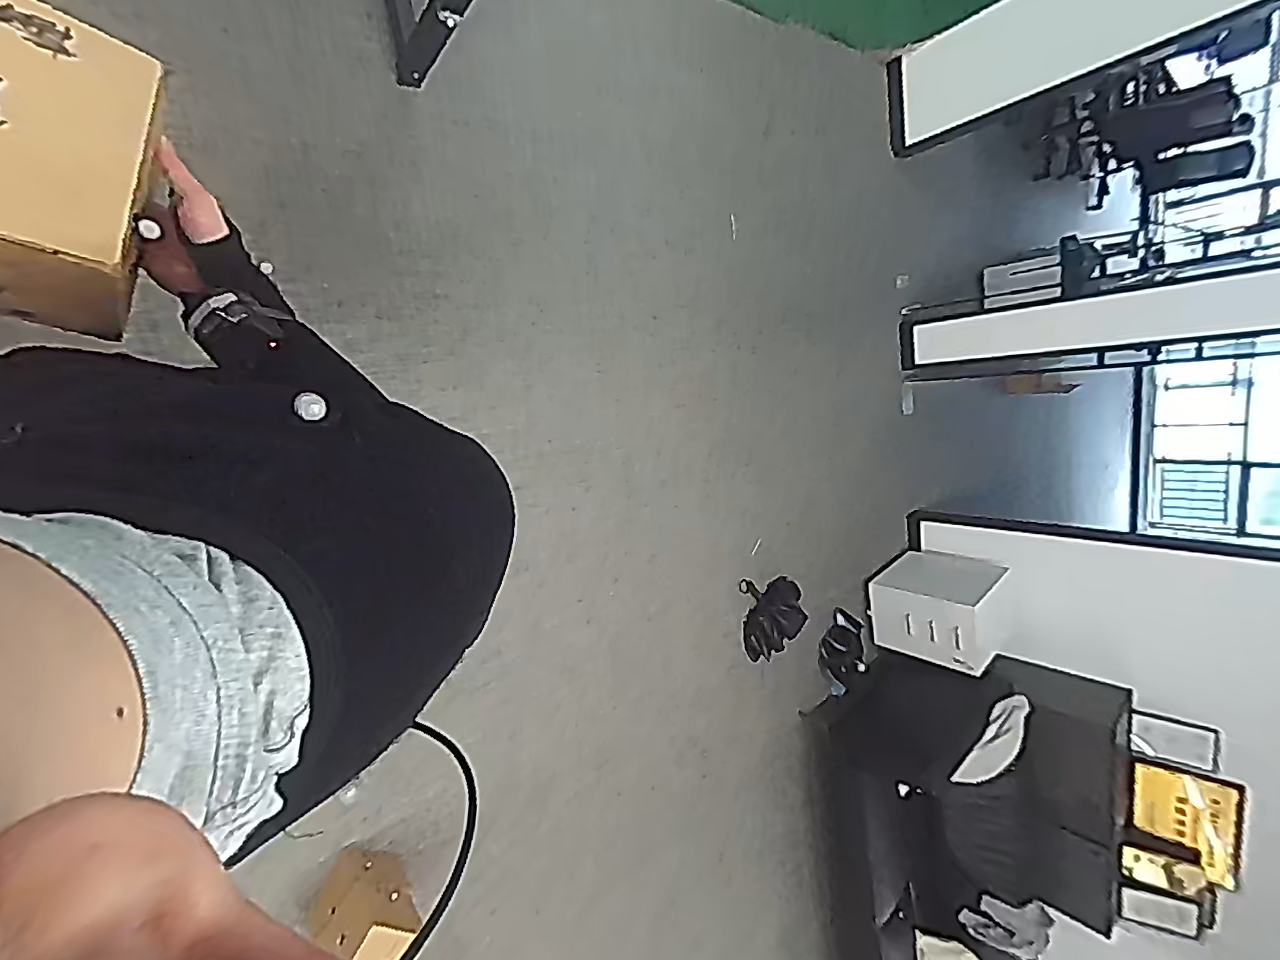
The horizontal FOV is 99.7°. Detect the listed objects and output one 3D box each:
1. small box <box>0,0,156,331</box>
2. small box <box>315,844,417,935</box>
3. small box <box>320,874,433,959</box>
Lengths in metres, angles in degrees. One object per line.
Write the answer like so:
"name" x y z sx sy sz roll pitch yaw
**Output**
"small box" -0.479 -0.231 0.399 0.168 0.176 0.179 9 79 -42
"small box" -0.736 1.110 1.443 0.168 0.176 0.179 36 72 -35
"small box" -0.642 1.109 1.307 0.168 0.176 0.179 45 65 -33
